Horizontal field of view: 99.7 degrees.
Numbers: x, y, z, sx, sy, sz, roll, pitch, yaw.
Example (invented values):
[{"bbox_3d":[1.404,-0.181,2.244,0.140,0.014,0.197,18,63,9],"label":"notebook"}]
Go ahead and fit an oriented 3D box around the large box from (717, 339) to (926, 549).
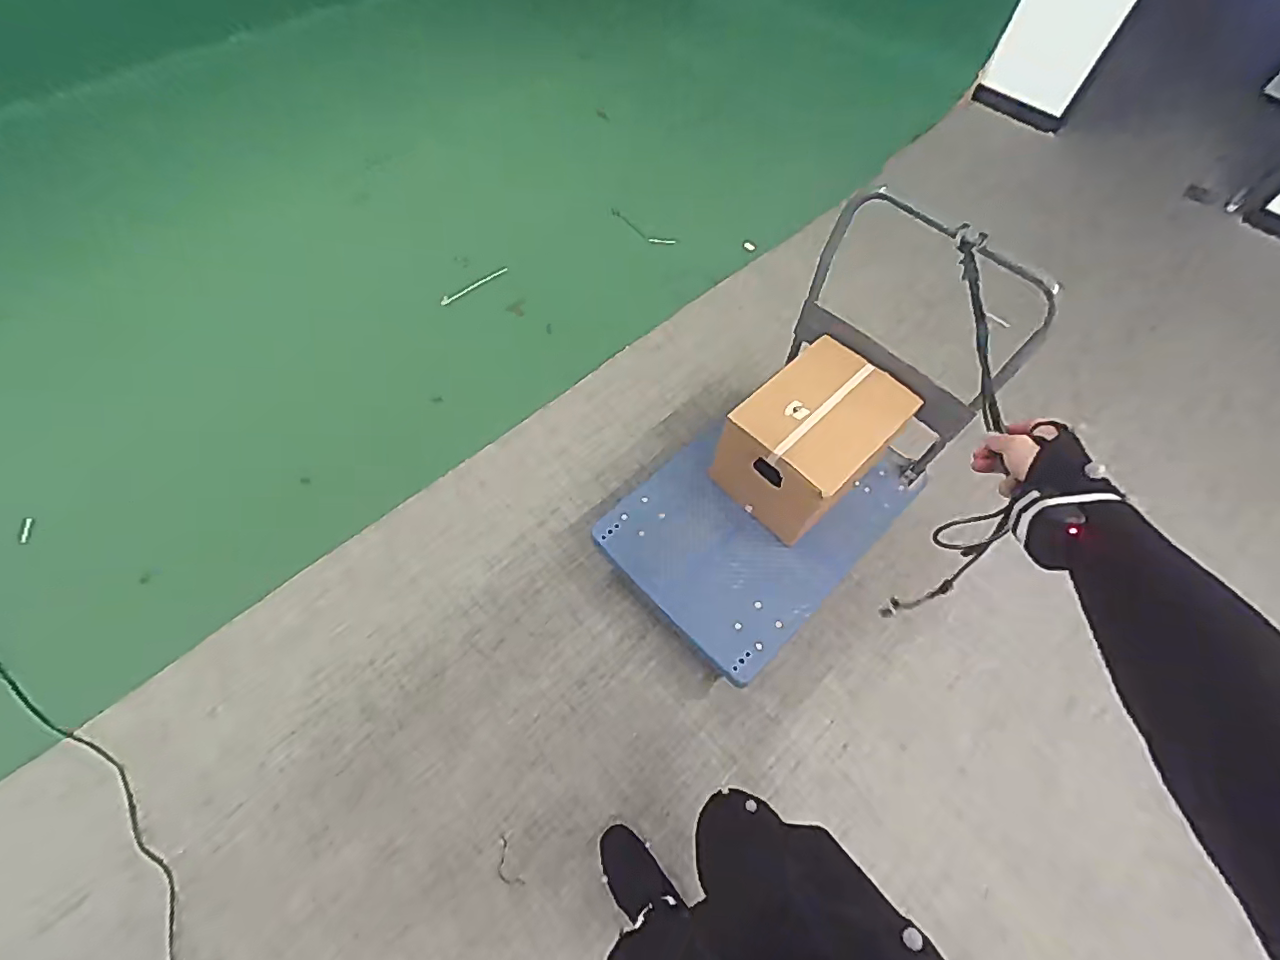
[{"bbox_3d":[0.469,-0.092,1.457,0.408,0.320,0.320,-40,69,-20],"label":"large box"}]
